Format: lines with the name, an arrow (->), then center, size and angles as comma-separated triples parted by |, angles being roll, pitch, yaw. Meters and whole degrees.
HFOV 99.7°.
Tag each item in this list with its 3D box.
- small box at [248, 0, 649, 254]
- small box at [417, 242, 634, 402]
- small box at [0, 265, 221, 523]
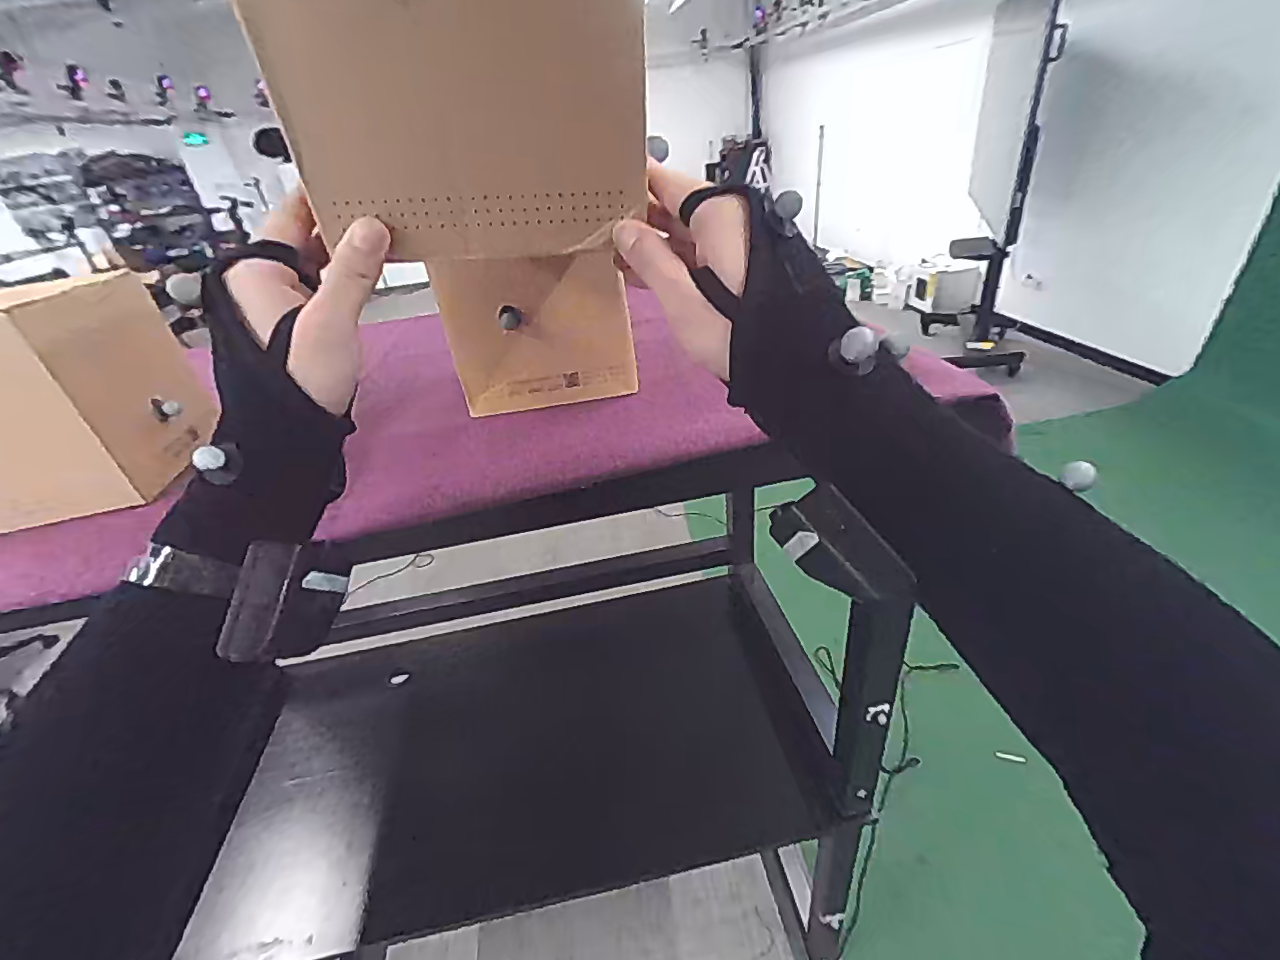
small box -> -0.088, -0.235, 0.299 | 0.179, 0.176, 0.168 | -3, 42, -1
small box -> -0.102, -0.188, 0.555 | 0.168, 0.176, 0.179 | -9, 31, -1
small box -> -0.528, -0.074, 0.470 | 0.179, 0.176, 0.168 | -13, 33, -8
